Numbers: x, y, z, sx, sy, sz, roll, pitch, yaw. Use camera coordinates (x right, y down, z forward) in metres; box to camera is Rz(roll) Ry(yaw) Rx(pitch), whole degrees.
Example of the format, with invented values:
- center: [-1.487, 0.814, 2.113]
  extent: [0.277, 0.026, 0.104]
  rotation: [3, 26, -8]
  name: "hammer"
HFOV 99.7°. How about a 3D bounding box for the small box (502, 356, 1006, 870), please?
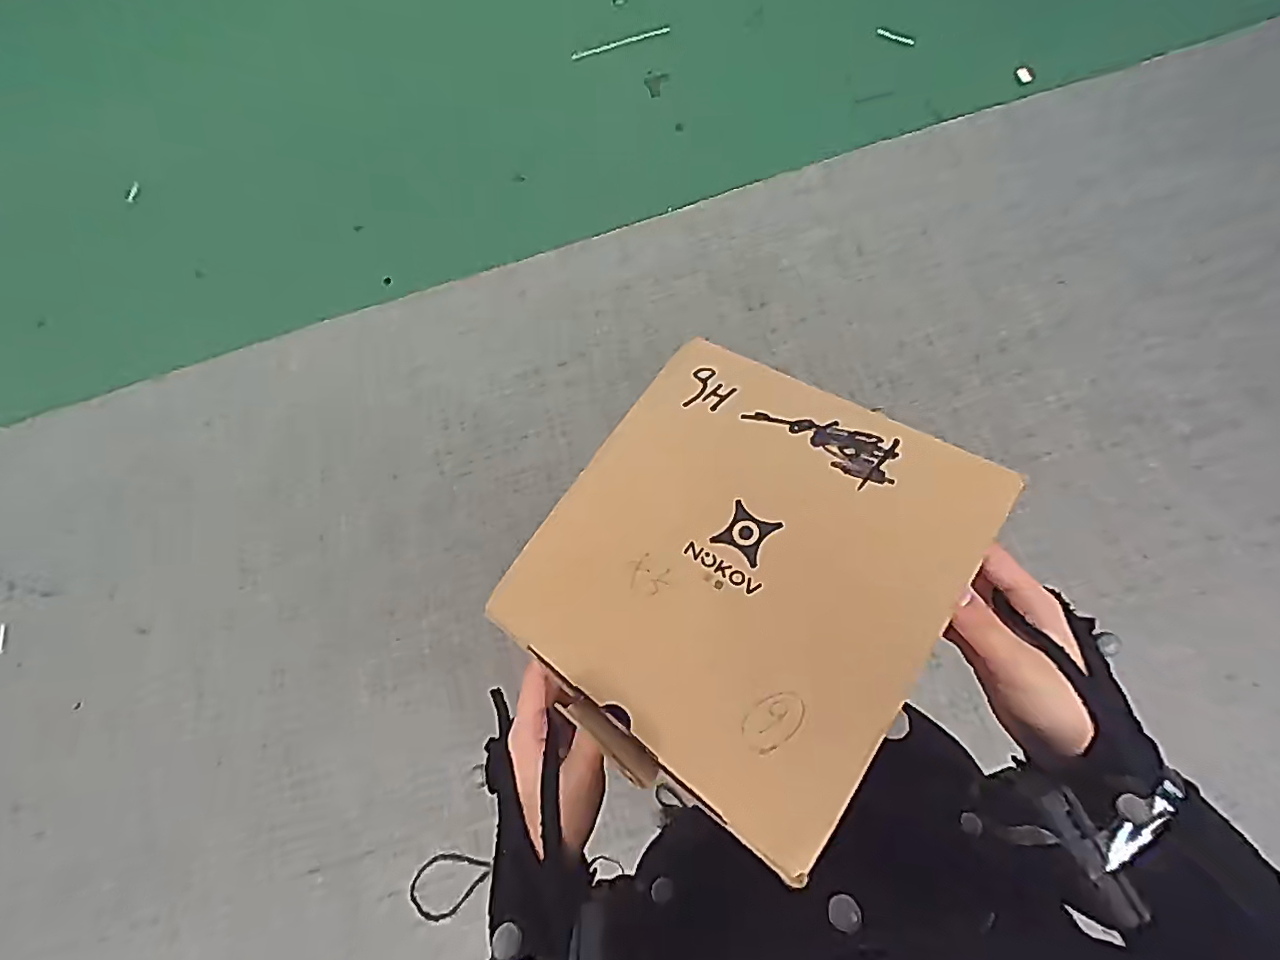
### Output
- center: [0.063, 0.069, 0.313]
  extent: [0.168, 0.176, 0.179]
  rotation: [31, 77, 26]
  name: "small box"
